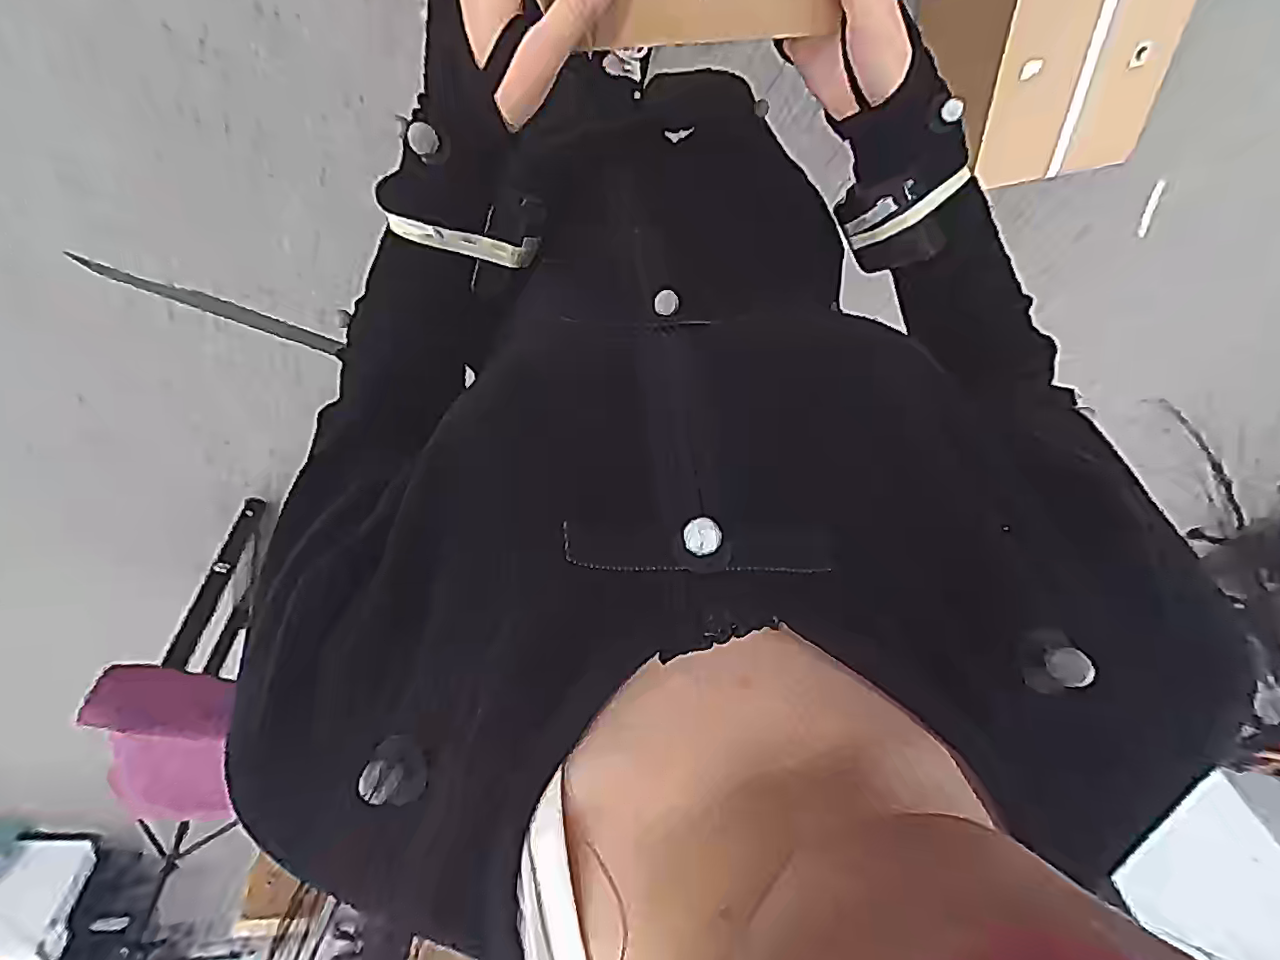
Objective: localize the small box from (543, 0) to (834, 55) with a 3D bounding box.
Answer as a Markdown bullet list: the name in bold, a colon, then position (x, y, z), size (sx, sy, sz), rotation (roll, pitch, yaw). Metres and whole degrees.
- **small box**: position (0.014, -0.365, 0.293), size (0.168, 0.176, 0.179), rotation (-10, 143, -7)

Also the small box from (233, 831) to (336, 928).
- **small box**: position (-0.884, 0.995, 1.355), size (0.168, 0.176, 0.179), rotation (19, 129, -25)
